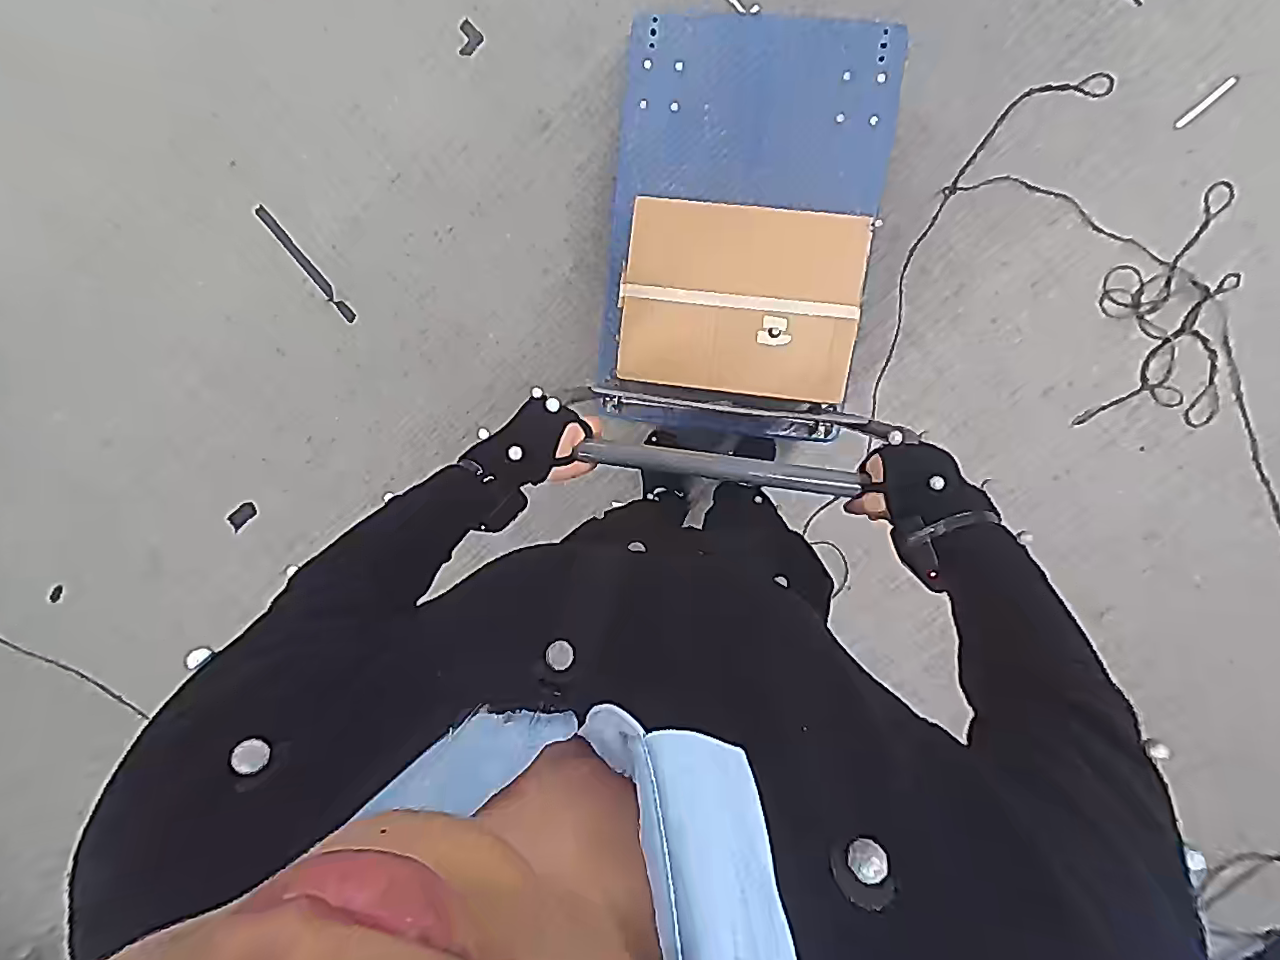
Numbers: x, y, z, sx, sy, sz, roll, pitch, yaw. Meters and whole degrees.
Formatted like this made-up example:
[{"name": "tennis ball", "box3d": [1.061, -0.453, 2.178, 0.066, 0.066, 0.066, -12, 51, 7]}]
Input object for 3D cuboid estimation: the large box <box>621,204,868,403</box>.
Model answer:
[{"name": "large box", "box3d": [0.185, -0.328, 1.092, 0.408, 0.320, 0.320, 7, 100, 4]}]
